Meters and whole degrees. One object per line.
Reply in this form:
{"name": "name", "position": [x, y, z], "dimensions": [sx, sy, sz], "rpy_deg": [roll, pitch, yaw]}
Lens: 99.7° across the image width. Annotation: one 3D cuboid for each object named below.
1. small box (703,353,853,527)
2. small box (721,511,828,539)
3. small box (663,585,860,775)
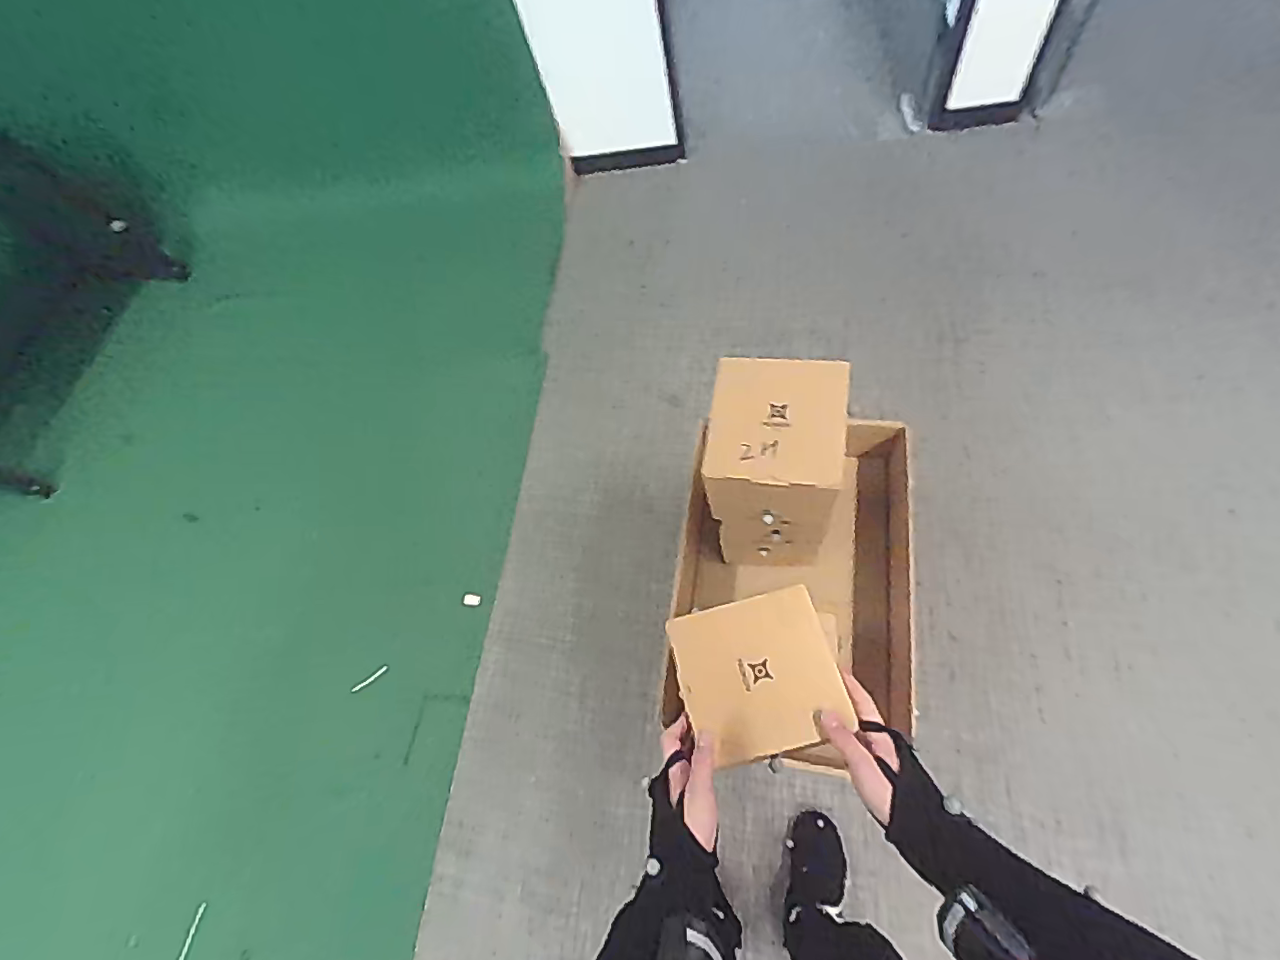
{"name": "small box", "position": [0.187, -0.051, 0.735], "dimensions": [0.168, 0.176, 0.179], "rpy_deg": [6, 70, 16]}
{"name": "small box", "position": [0.223, -0.004, 0.890], "dimensions": [0.168, 0.176, 0.179], "rpy_deg": [-1, 68, 12]}
{"name": "small box", "position": [0.141, 0.248, 0.666], "dimensions": [0.179, 0.176, 0.168], "rpy_deg": [-18, 61, 4]}
